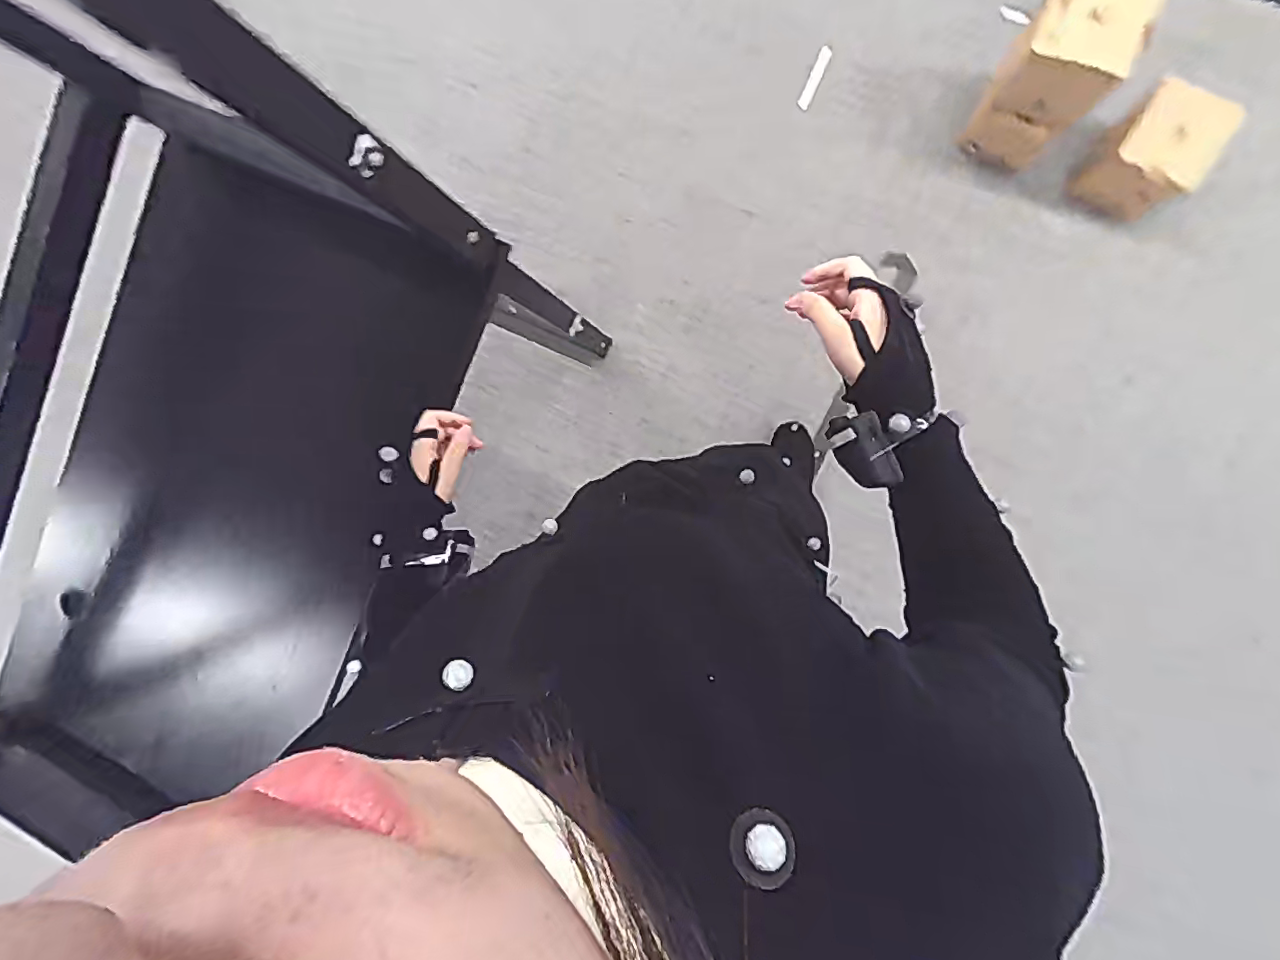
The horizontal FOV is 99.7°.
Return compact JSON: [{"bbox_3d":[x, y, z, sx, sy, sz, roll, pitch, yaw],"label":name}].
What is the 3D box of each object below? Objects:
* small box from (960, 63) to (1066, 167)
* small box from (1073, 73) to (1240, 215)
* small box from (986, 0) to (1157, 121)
[{"bbox_3d":[0.853,-0.845,1.208,0.168,0.176,0.179,27,97,6],"label":"small box"},{"bbox_3d":[1.104,-0.718,1.179,0.168,0.176,0.179,30,98,5],"label":"small box"},{"bbox_3d":[0.824,-0.837,1.046,0.179,0.176,0.168,22,97,6],"label":"small box"}]
